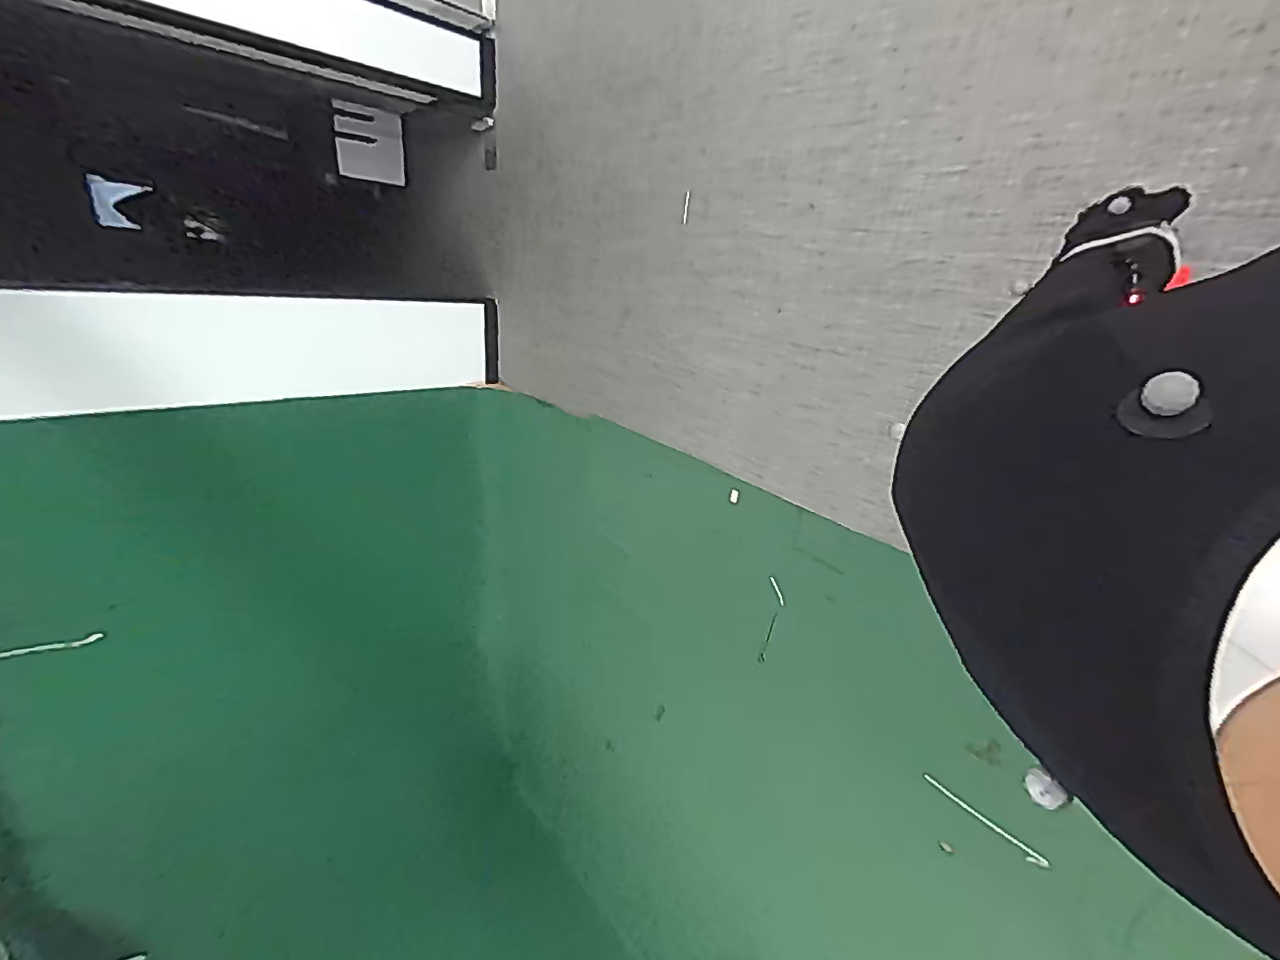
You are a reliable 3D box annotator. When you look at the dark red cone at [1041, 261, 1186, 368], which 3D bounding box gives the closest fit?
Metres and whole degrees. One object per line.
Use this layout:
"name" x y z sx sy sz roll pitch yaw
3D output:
"dark red cone" 0.833 -0.303 0.998 0.202 0.394 0.201 21 117 46
